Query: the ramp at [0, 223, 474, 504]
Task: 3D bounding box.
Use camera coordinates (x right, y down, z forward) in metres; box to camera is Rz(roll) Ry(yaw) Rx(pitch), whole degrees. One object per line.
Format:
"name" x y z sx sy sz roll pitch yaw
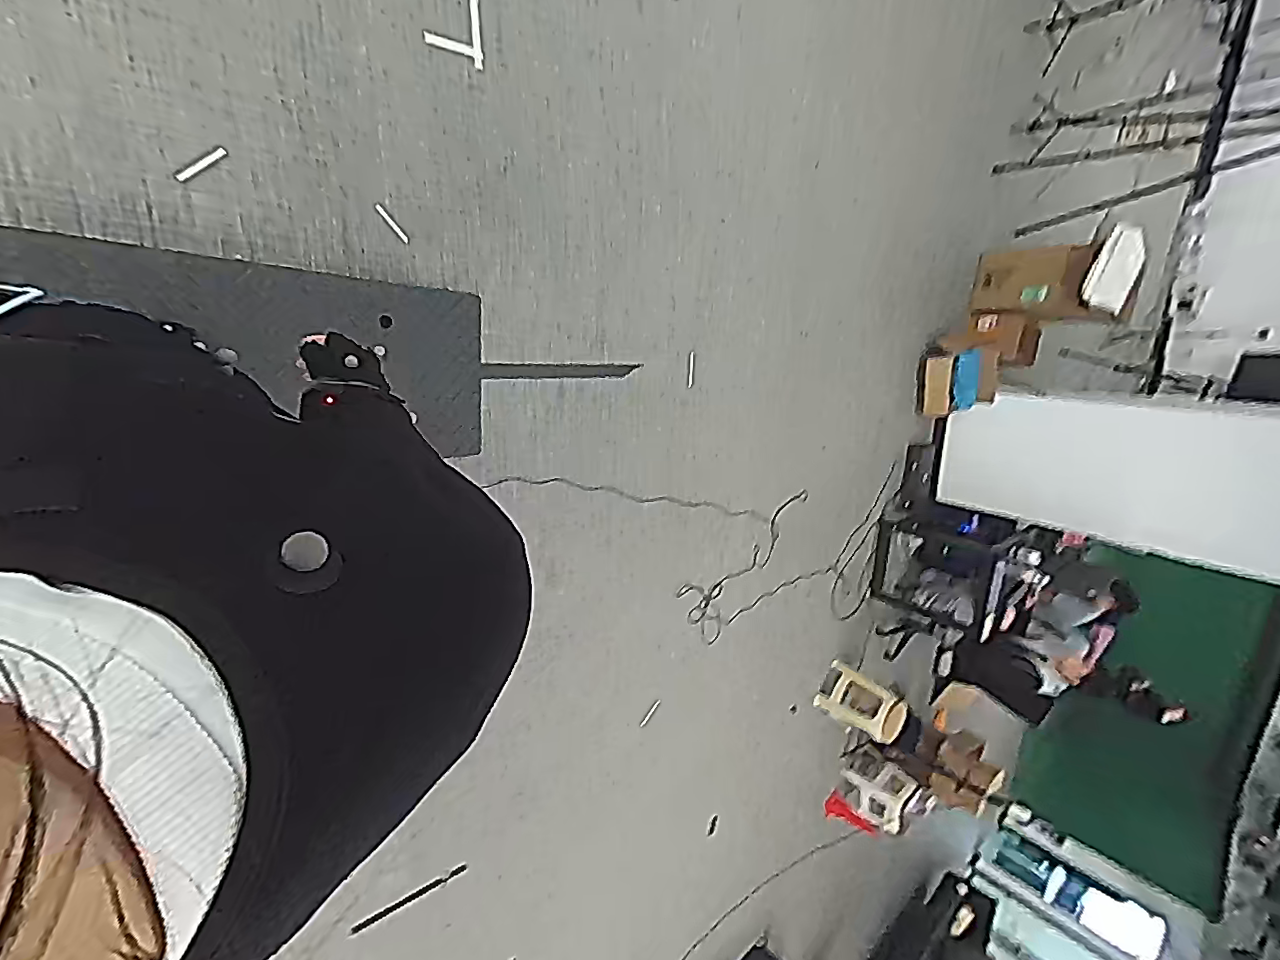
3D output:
"ramp" -0.837 -0.263 1.294 0.991 0.206 0.509 -10 108 -40
